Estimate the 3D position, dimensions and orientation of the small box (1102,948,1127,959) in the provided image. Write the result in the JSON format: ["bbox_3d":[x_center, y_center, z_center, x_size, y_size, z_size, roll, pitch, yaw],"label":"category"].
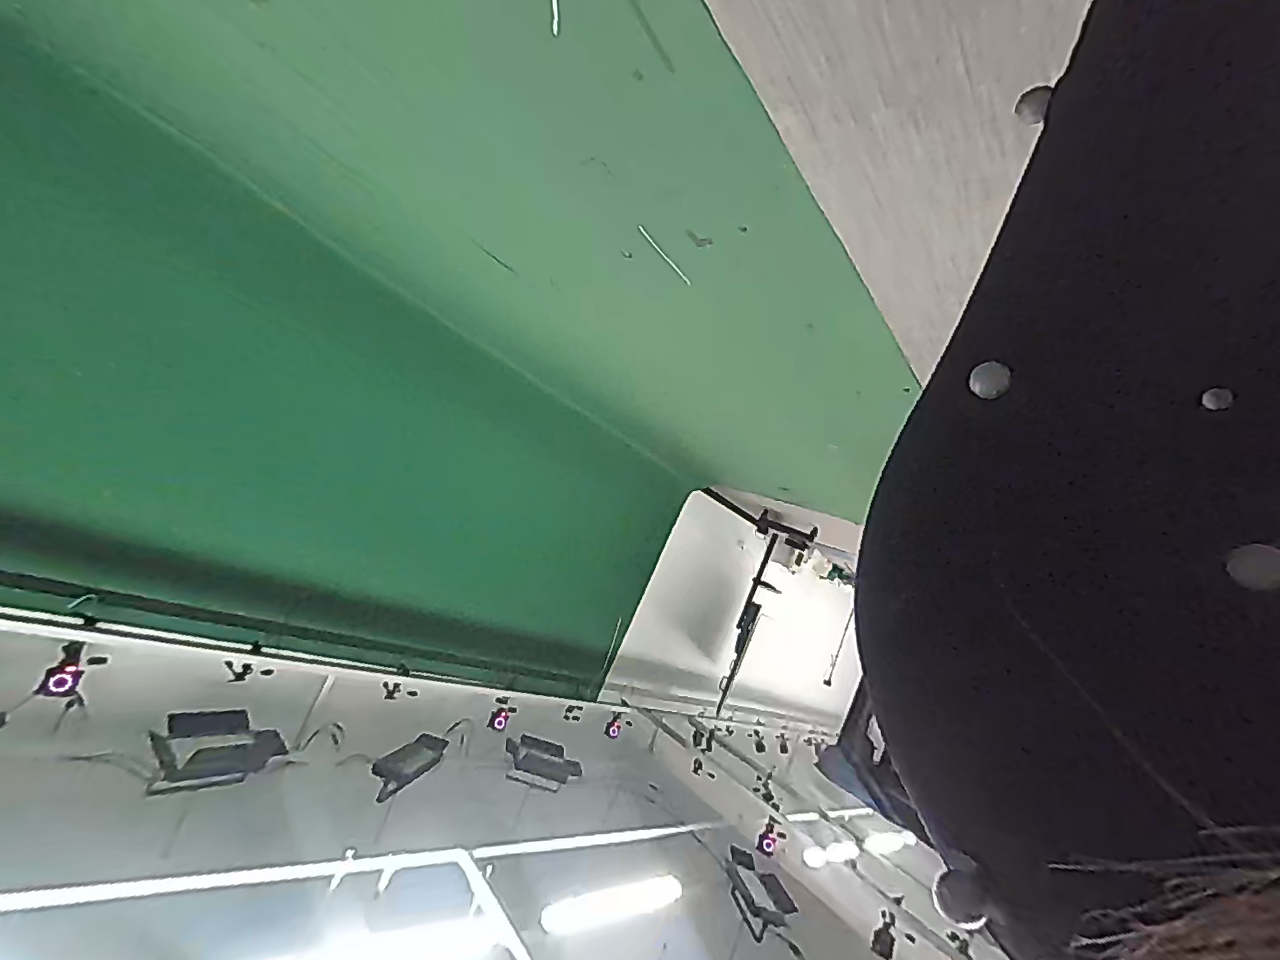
[{"bbox_3d":[1.347,1.430,1.470,0.179,0.176,0.168,29,173,-39],"label":"small box"}]
